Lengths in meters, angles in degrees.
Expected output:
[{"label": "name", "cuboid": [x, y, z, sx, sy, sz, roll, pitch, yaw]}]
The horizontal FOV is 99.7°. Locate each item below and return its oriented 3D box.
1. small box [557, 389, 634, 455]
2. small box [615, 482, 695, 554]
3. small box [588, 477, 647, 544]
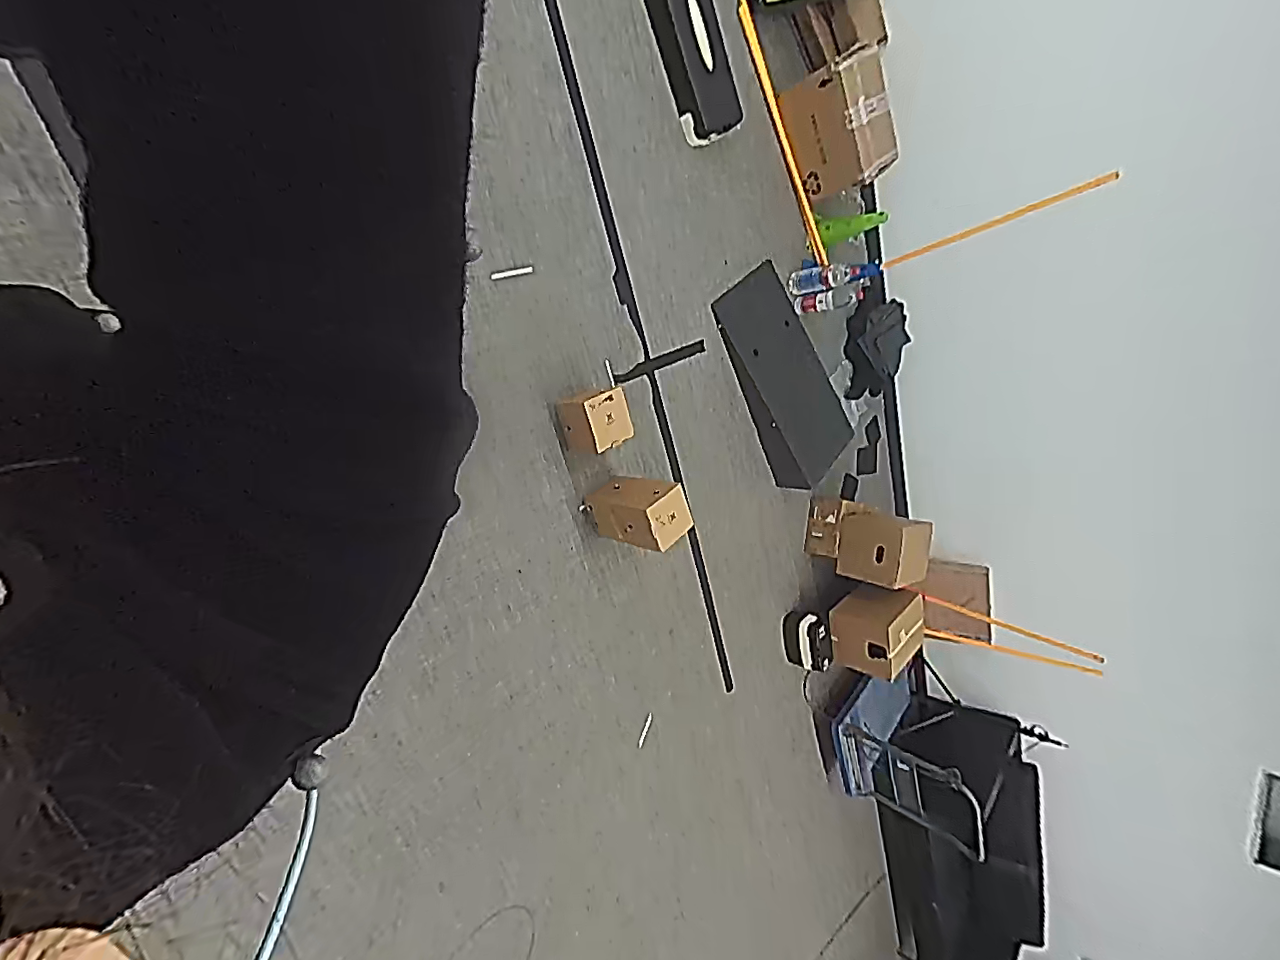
[{"label": "small box", "cuboid": [-0.150, -0.198, 1.805, 0.168, 0.176, 0.179, -30, 115, -36]}, {"label": "small box", "cuboid": [0.049, 0.119, 1.801, 0.179, 0.176, 0.168, -36, 117, -34]}, {"label": "small box", "cuboid": [-0.062, 0.104, 1.922, 0.179, 0.176, 0.168, -38, 119, -34]}]
